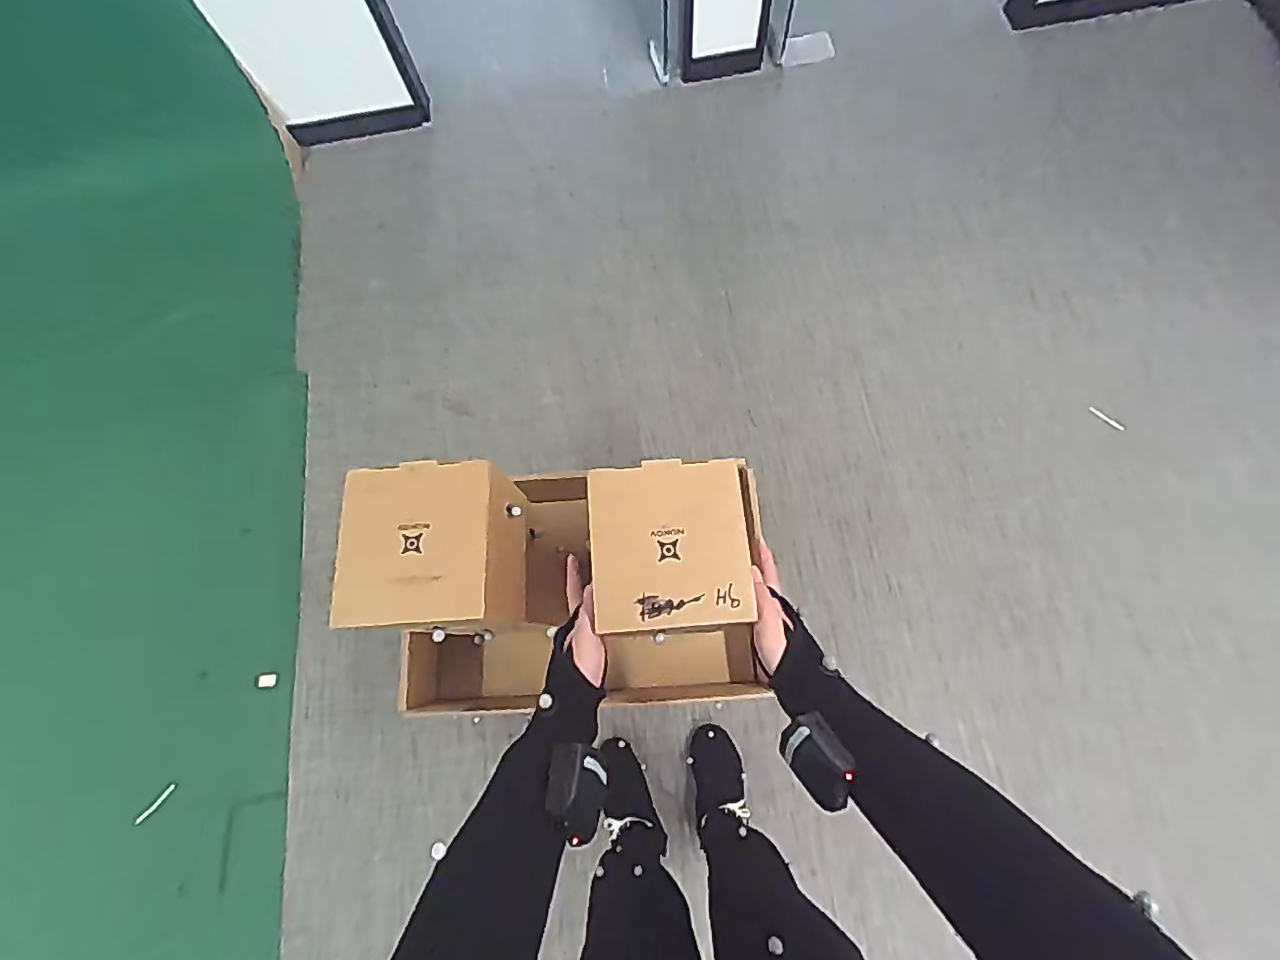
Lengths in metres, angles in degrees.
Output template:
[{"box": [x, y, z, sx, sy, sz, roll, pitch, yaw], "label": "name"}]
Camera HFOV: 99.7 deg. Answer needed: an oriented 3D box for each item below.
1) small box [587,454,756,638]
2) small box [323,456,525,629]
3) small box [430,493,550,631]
[{"box": [0.029, 0.084, 0.630, 0.168, 0.176, 0.179, -4, 71, 0], "label": "small box"}, {"box": [-0.242, 0.083, 0.651, 0.168, 0.176, 0.179, -4, 73, 3], "label": "small box"}, {"box": [-0.234, 0.129, 0.807, 0.168, 0.176, 0.179, -5, 73, 3], "label": "small box"}]
